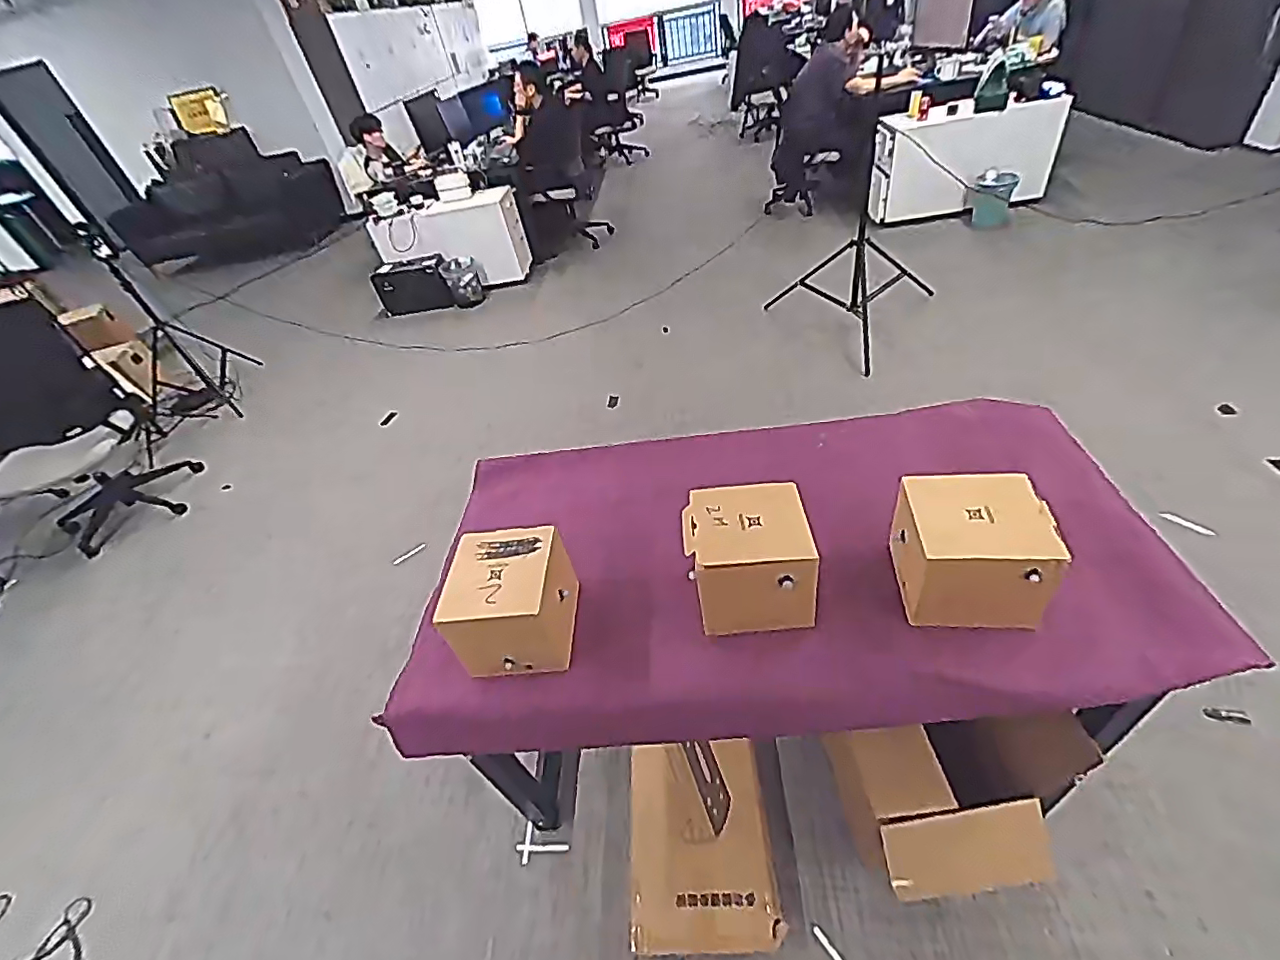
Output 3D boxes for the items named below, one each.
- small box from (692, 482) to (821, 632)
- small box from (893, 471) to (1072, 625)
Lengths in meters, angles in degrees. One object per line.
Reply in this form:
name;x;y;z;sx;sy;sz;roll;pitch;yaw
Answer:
small box;0.181;0.125;0.871;0.179;0.176;0.168;-7;39;7
small box;0.494;0.104;0.817;0.179;0.176;0.168;-2;43;12
